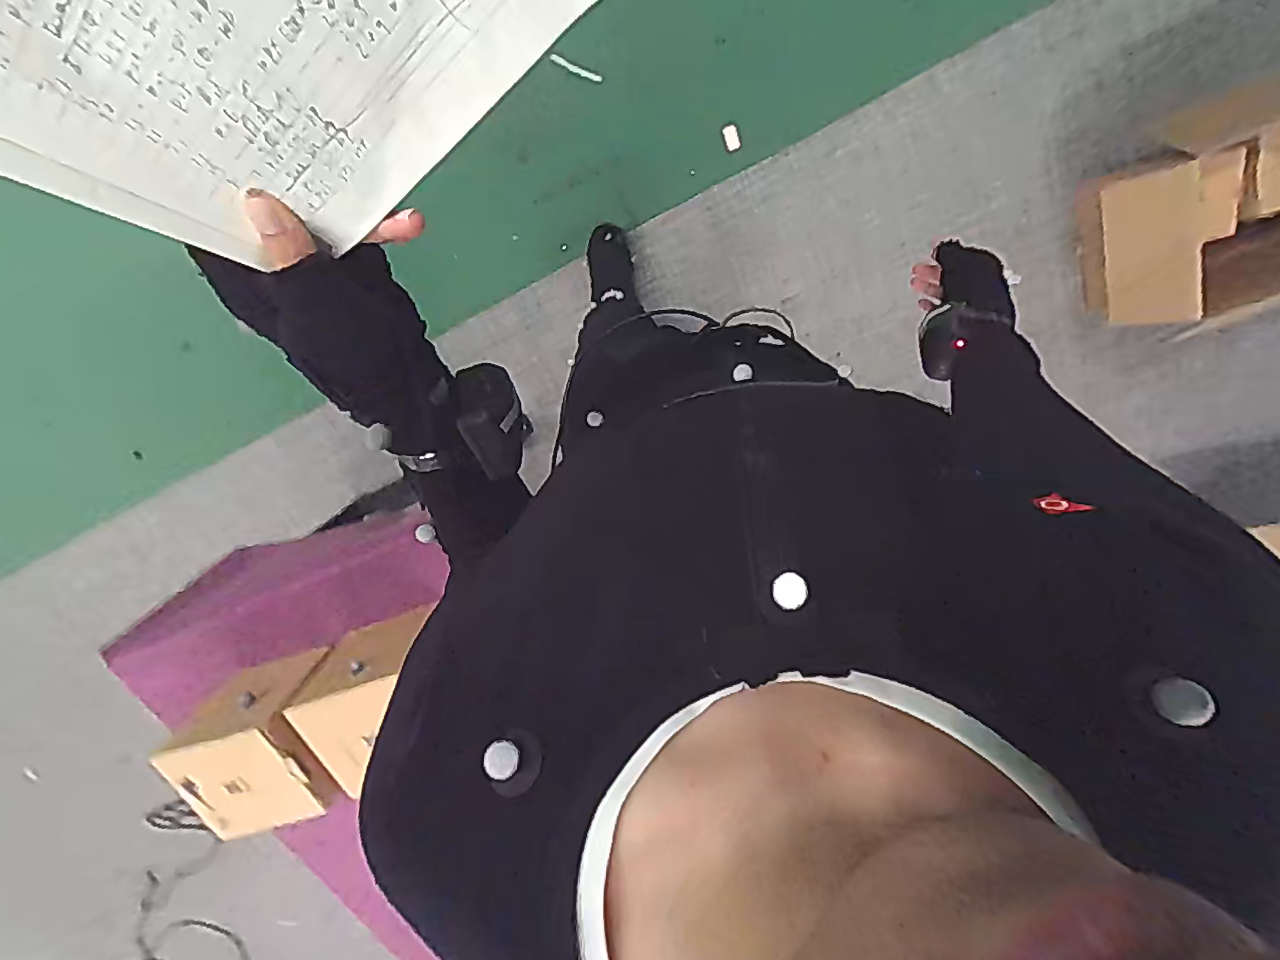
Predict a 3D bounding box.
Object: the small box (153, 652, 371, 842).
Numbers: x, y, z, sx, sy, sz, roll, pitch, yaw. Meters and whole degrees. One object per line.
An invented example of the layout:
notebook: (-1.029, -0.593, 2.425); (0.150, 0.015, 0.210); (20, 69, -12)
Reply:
small box: (-0.530, 0.381, 0.796); (0.179, 0.176, 0.168); (-18, 109, 6)
